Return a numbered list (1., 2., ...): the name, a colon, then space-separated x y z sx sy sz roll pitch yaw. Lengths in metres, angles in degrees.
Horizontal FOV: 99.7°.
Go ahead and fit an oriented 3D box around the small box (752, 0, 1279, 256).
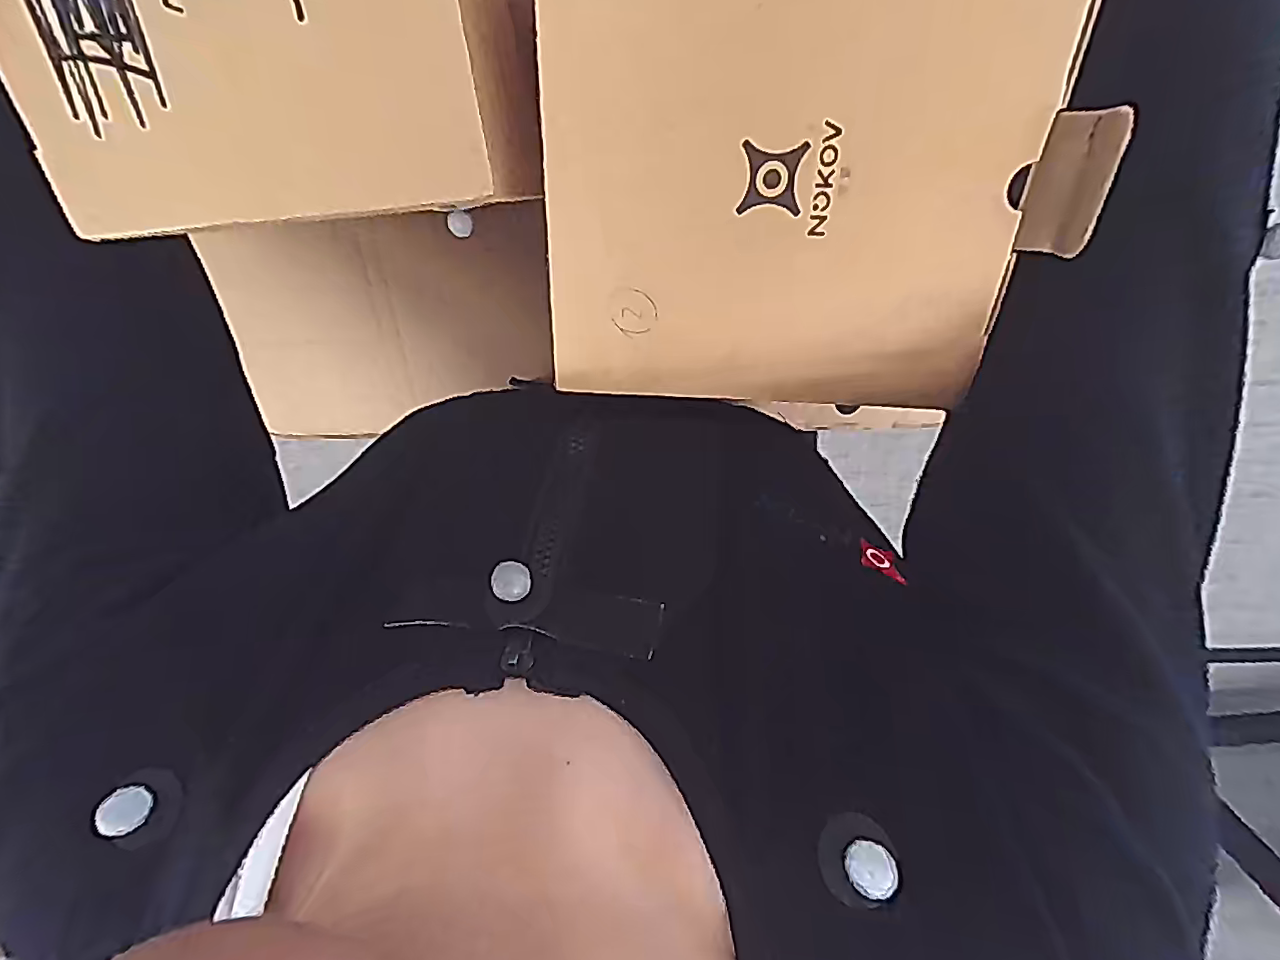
1. small box: 0.154 -0.202 0.206 0.179 0.176 0.168 14 125 -2
